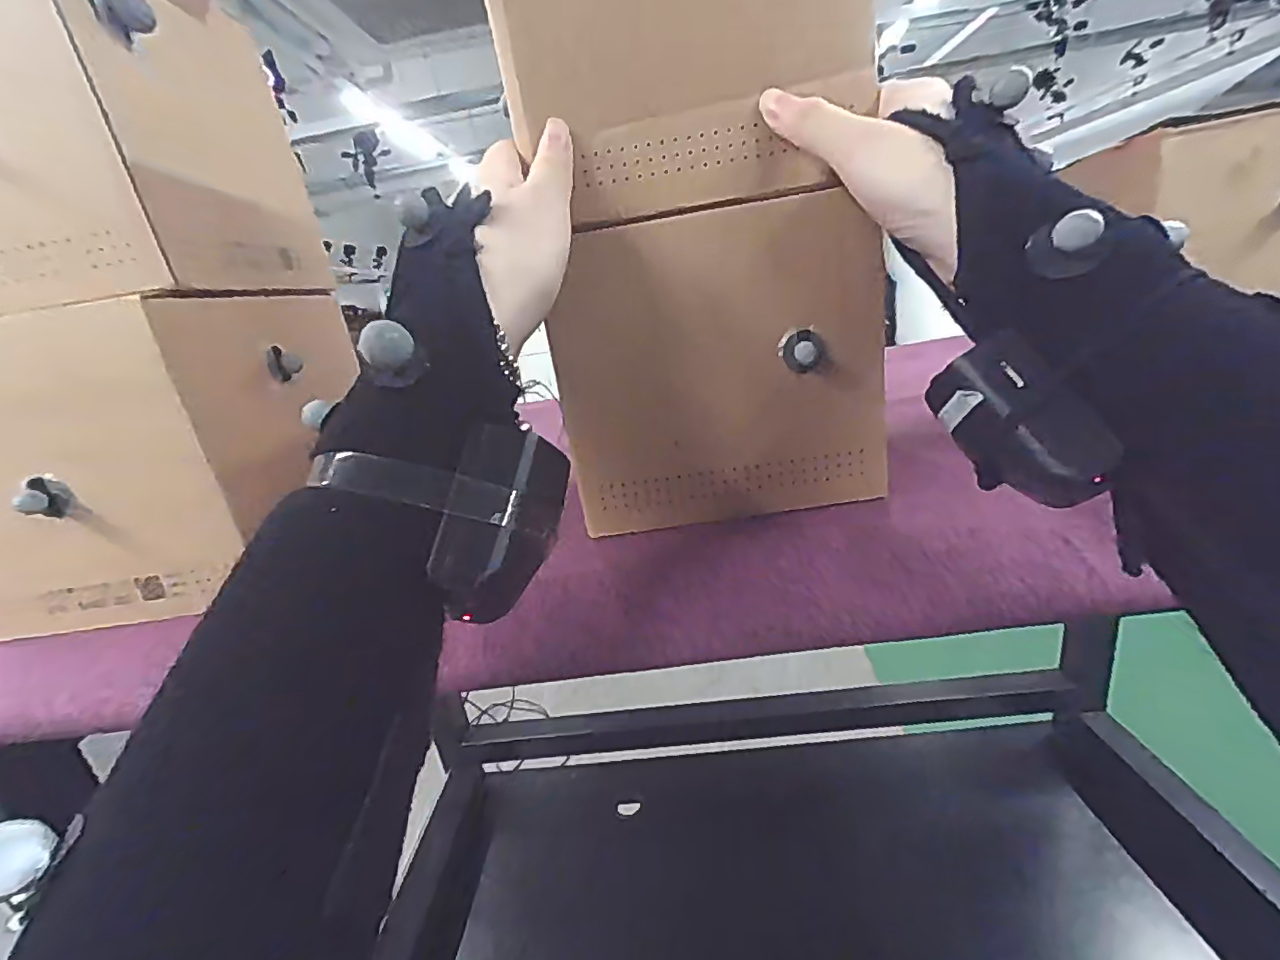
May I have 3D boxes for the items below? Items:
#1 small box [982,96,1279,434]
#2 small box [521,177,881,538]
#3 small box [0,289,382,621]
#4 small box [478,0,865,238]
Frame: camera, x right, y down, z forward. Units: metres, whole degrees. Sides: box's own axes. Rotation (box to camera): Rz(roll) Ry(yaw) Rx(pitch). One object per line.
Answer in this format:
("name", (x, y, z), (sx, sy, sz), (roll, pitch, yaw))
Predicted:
("small box", (0.358, -0.133, 0.357), (0.179, 0.176, 0.168), (-8, 17, 6))
("small box", (0.041, -0.077, 0.358), (0.179, 0.176, 0.168), (-10, 17, 3))
("small box", (-0.298, -0.022, 0.353), (0.168, 0.176, 0.179), (-7, 20, 2))
("small box", (0.012, -0.230, 0.311), (0.179, 0.176, 0.168), (-9, 18, 2))
